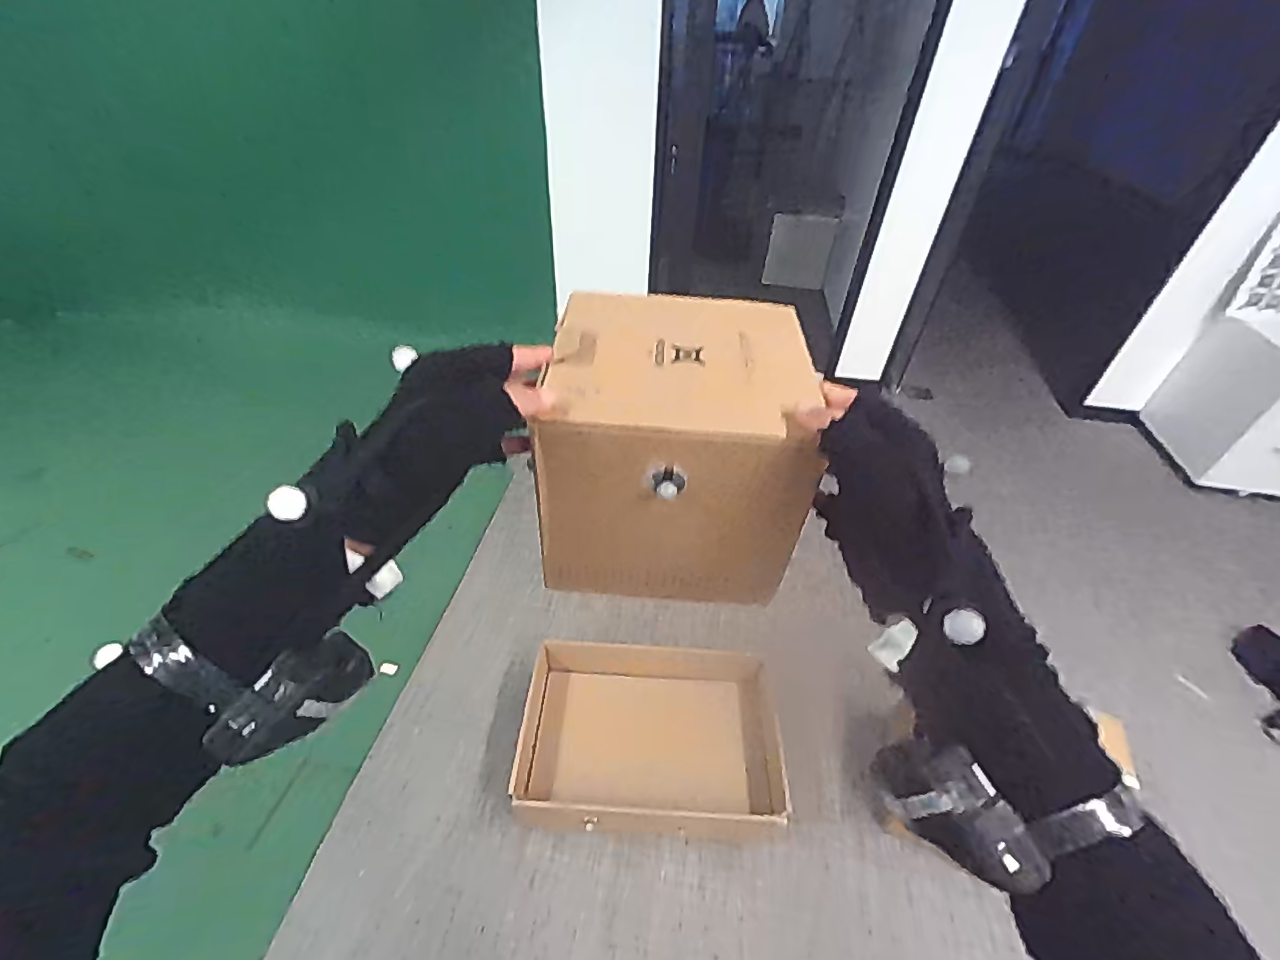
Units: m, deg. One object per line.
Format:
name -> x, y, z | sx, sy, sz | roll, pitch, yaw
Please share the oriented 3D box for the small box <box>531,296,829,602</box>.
small box -> 0.023, -0.022, 0.420 | 0.179, 0.176, 0.168 | 6, 44, -1
